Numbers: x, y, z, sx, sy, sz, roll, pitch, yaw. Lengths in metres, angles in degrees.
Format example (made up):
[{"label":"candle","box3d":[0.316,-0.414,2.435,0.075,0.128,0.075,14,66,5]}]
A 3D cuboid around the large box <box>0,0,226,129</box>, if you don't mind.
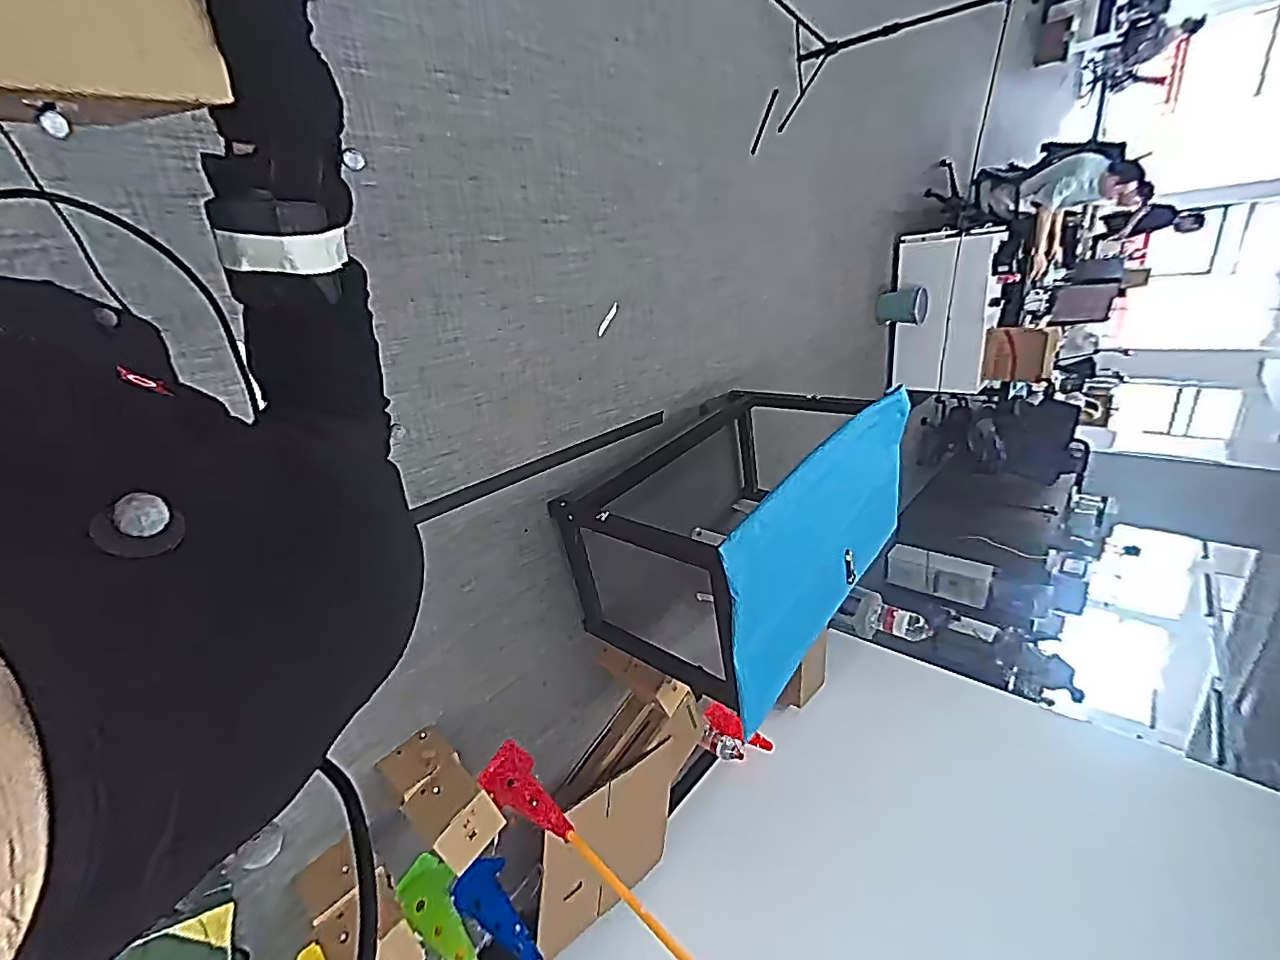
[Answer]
[{"label":"large box","box3d":[-0.465,-0.308,0.182,0.408,0.320,0.320,-28,130,-40]}]
